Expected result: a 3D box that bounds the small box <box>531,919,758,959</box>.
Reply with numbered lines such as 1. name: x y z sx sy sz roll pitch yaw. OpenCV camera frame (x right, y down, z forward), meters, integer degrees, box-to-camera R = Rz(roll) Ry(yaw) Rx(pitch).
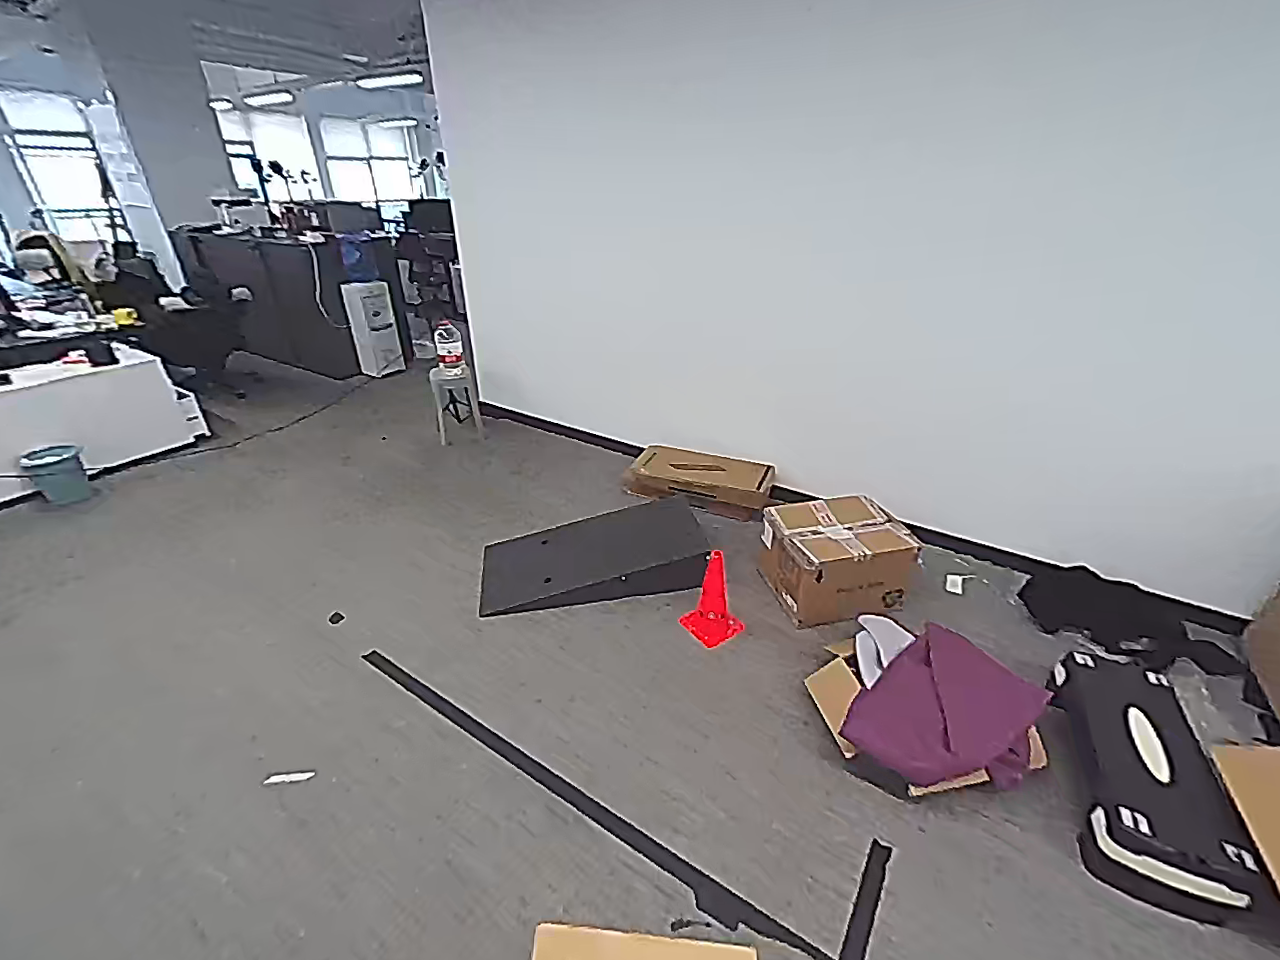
1. small box: -0.003 0.467 0.404 0.179 0.176 0.168 4 34 2
